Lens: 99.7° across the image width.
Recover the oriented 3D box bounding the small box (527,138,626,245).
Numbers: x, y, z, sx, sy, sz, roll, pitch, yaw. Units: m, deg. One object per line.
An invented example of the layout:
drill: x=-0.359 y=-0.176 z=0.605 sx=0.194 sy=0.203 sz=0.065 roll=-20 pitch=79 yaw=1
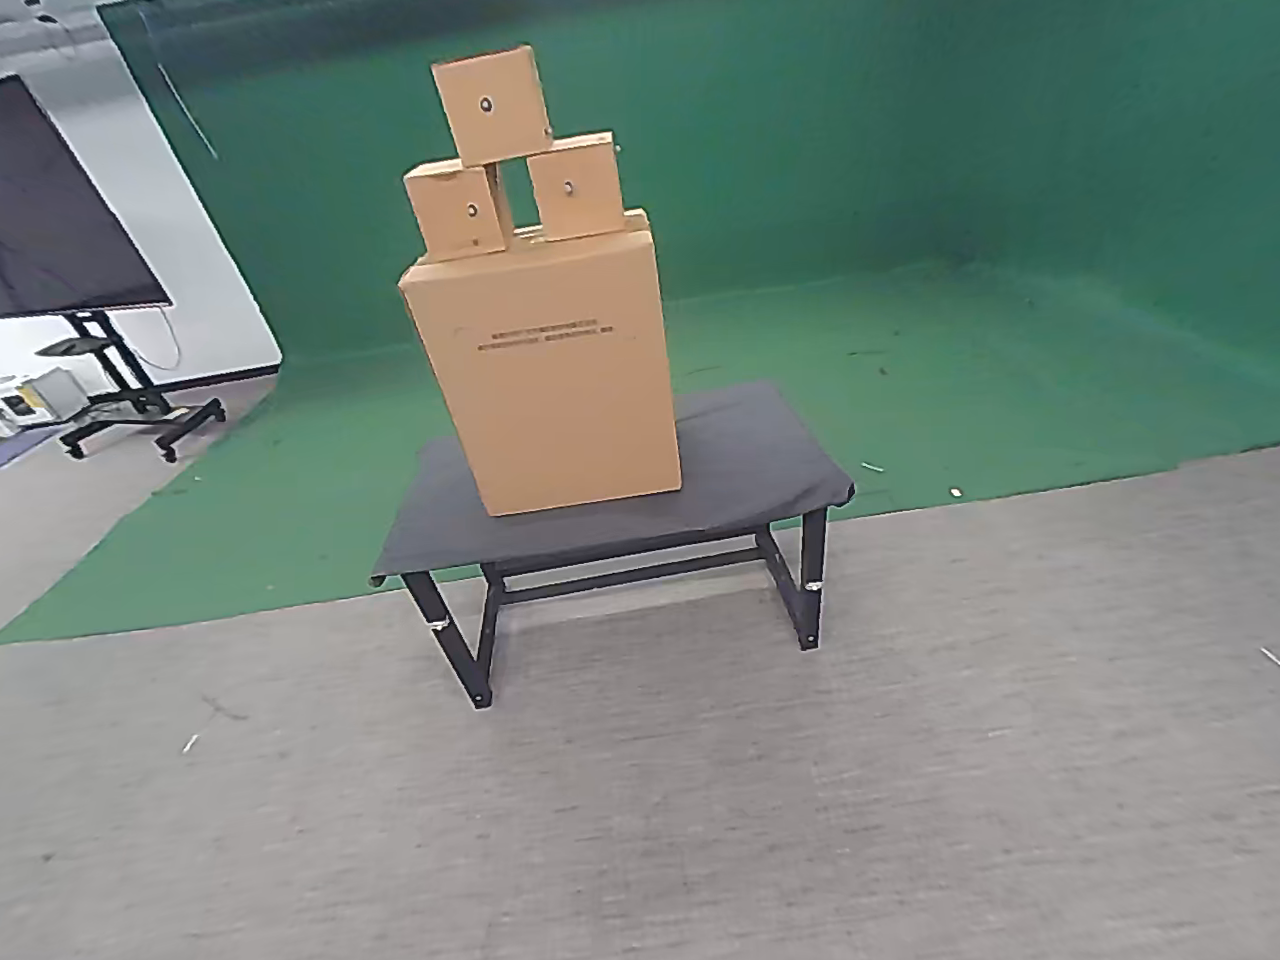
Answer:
small box: x=-0.130 y=-0.631 z=1.187 sx=0.179 sy=0.176 sz=0.168 roll=-9 pitch=38 yaw=4

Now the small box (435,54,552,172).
small box: x=-0.282 y=-0.739 z=1.092 sx=0.179 sy=0.176 sz=0.168 roll=-10 pitch=38 yaw=3

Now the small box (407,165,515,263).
small box: x=-0.384 y=-0.591 z=1.198 sx=0.168 sy=0.176 sz=0.179 roll=-8 pitch=36 yaw=1
